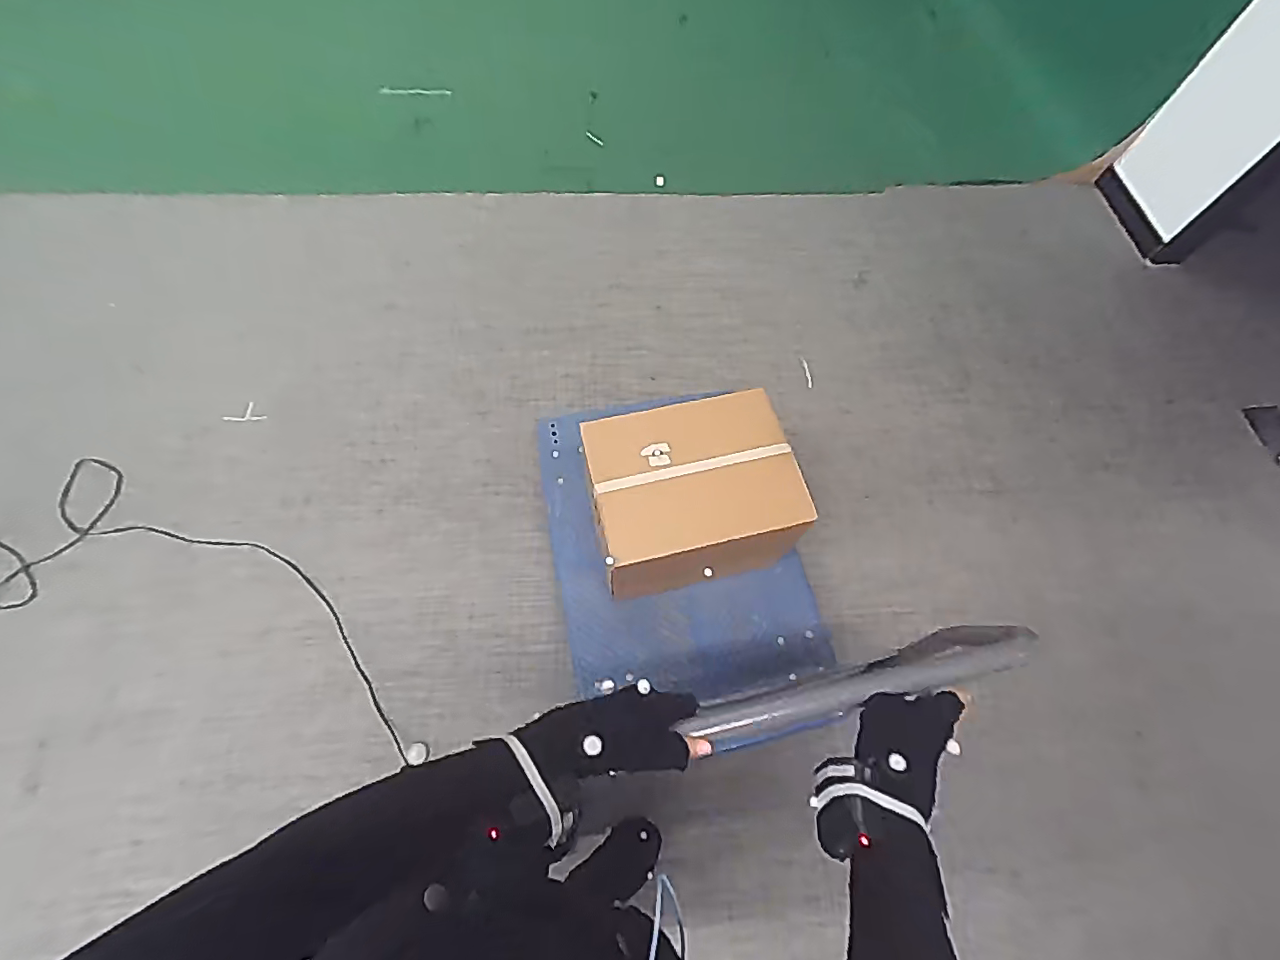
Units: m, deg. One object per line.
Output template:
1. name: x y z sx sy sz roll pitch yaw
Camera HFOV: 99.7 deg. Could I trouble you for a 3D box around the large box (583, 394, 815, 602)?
1. large box: 0.107 0.052 1.210 0.408 0.320 0.320 -13 66 -8
